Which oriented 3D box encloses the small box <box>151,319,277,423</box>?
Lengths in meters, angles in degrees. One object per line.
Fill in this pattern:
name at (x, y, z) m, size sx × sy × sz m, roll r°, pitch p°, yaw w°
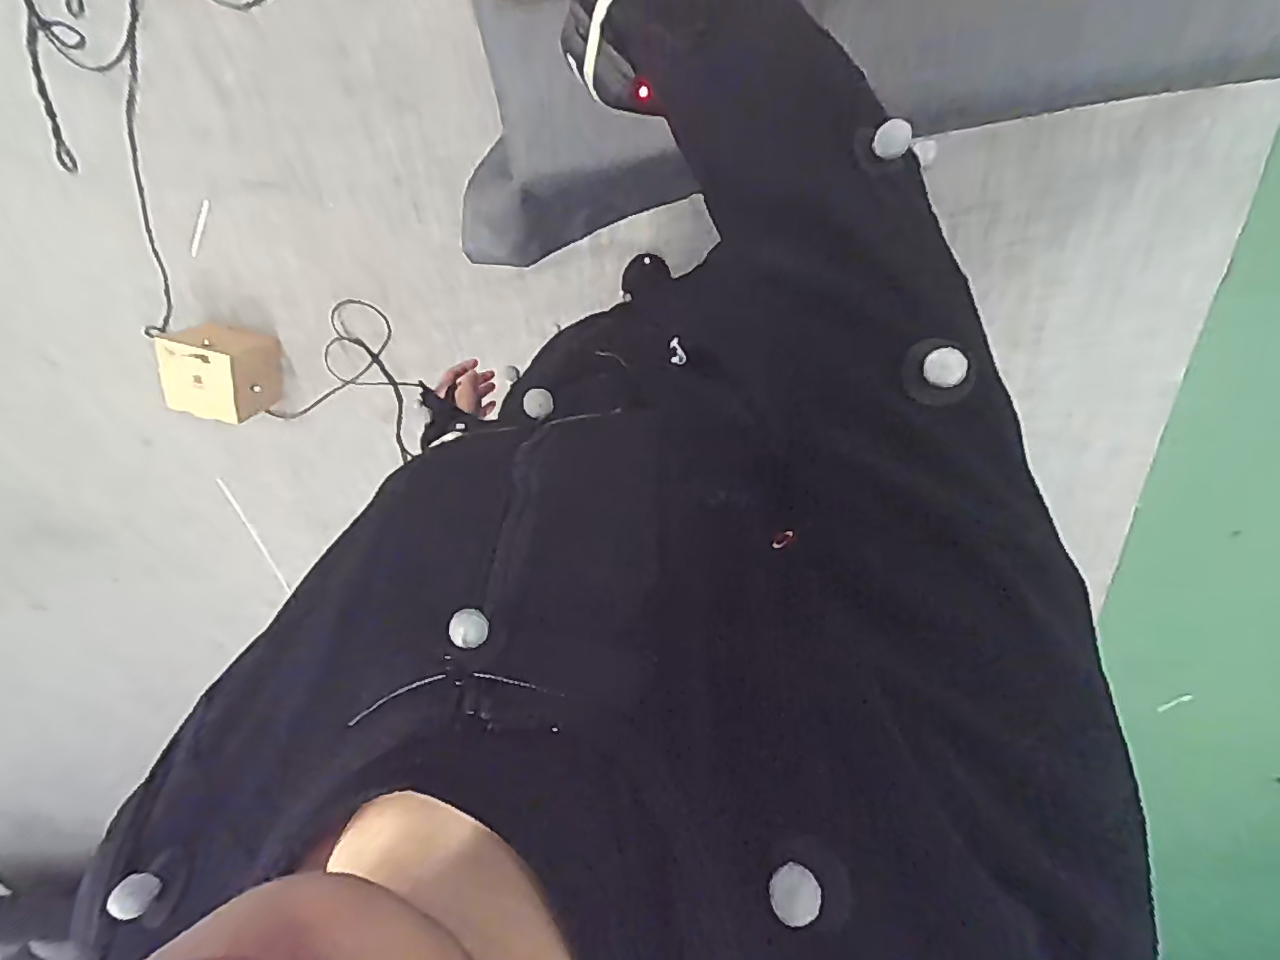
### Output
small box at (-1.002, -0.263, 1.292) m, size 0.168 × 0.176 × 0.179 m, roll 14°, pitch 119°, yaw -4°
